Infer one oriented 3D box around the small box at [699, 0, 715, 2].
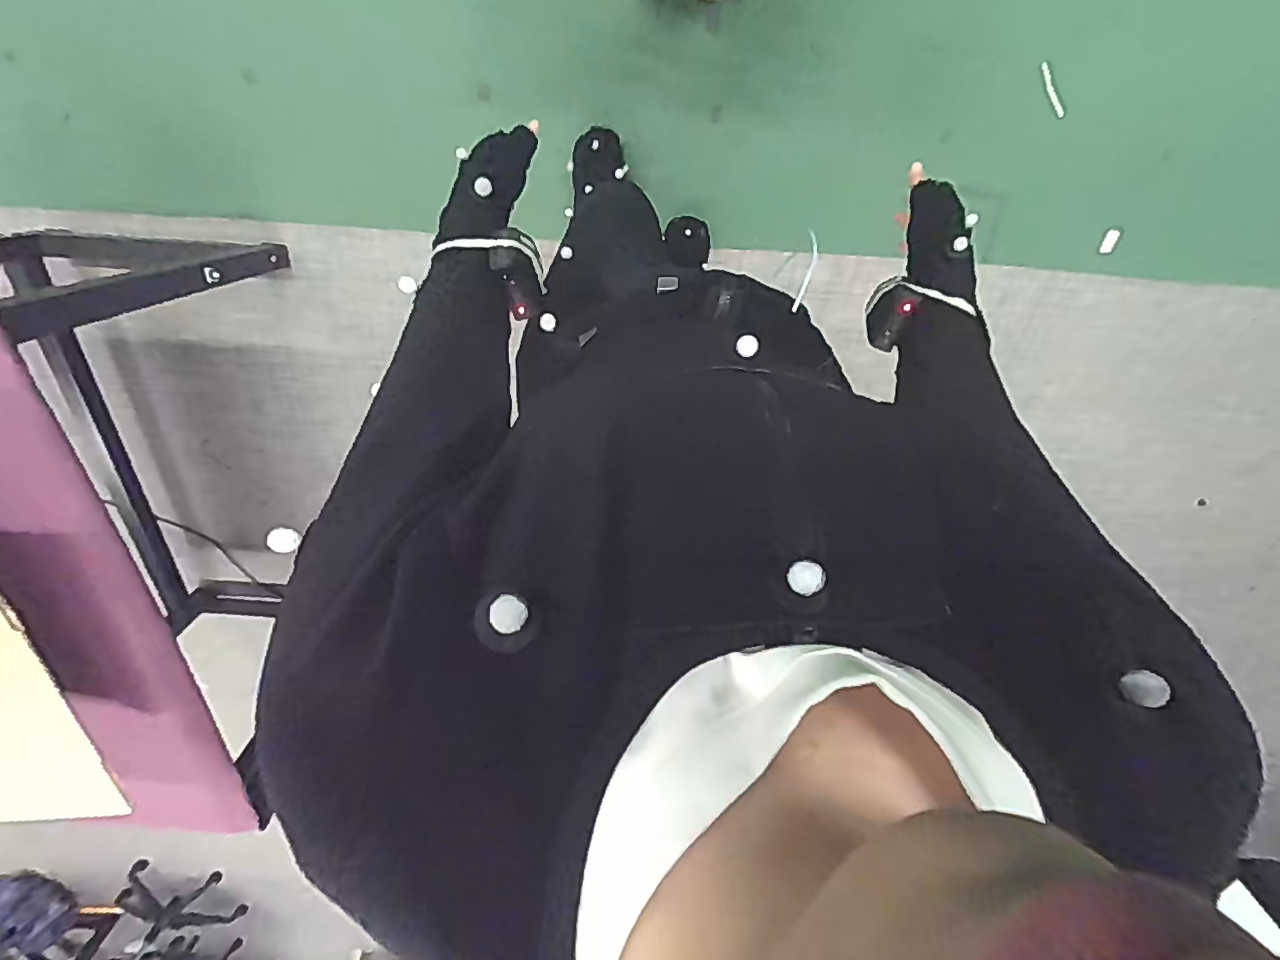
[{"bbox_3d":[0.080,-0.980,0.952,0.168,0.176,0.179,5,119,-2],"label":"small box"}]
